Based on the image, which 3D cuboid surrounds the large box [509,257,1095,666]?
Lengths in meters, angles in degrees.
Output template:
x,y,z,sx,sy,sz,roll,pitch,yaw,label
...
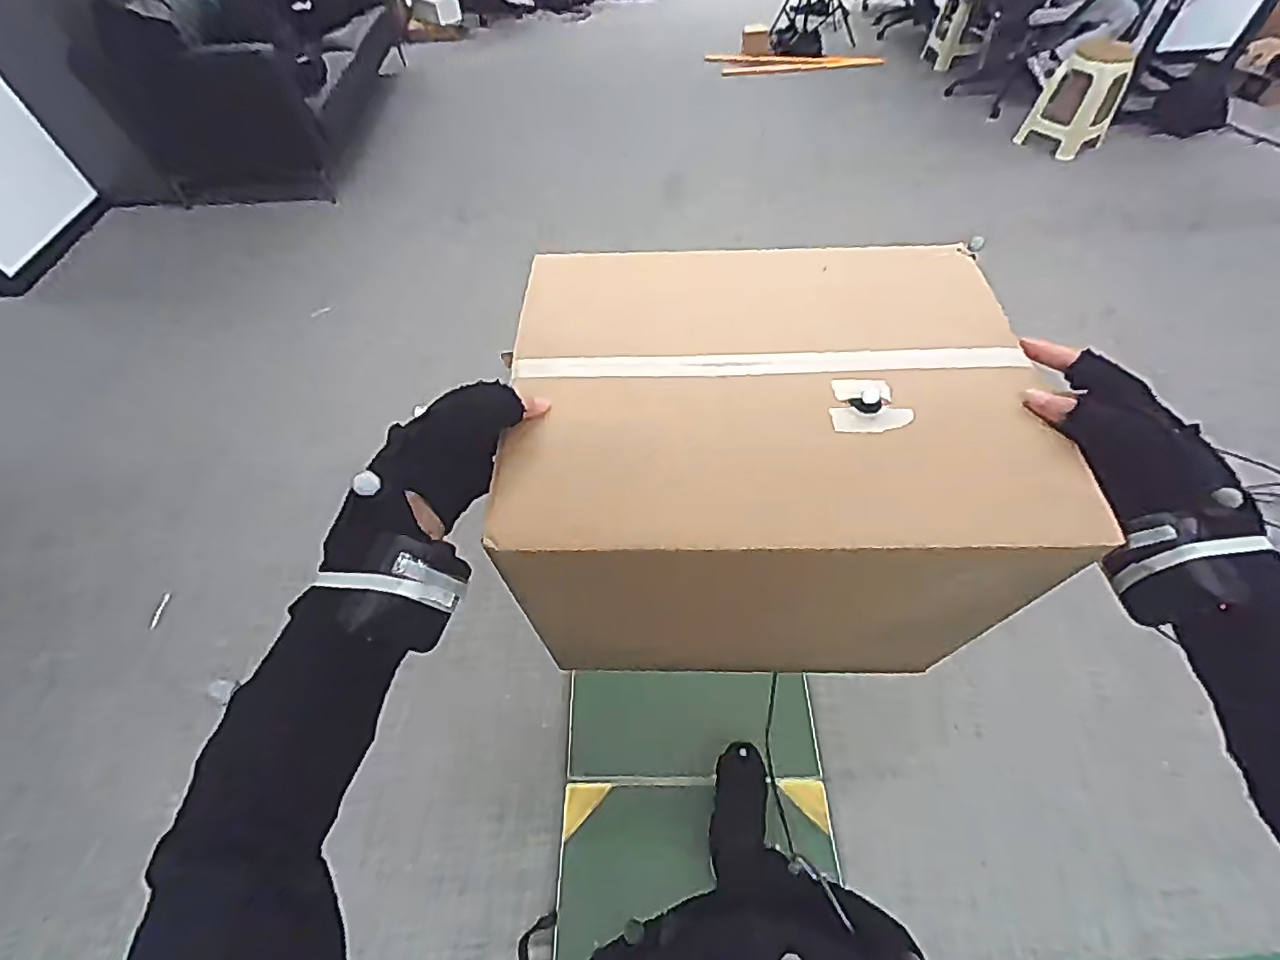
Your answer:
x,y,z,sx,sy,sz,roll,pitch,yaw,label
0.108,-0.004,0.567,0.408,0.320,0.320,0,57,1,large box
